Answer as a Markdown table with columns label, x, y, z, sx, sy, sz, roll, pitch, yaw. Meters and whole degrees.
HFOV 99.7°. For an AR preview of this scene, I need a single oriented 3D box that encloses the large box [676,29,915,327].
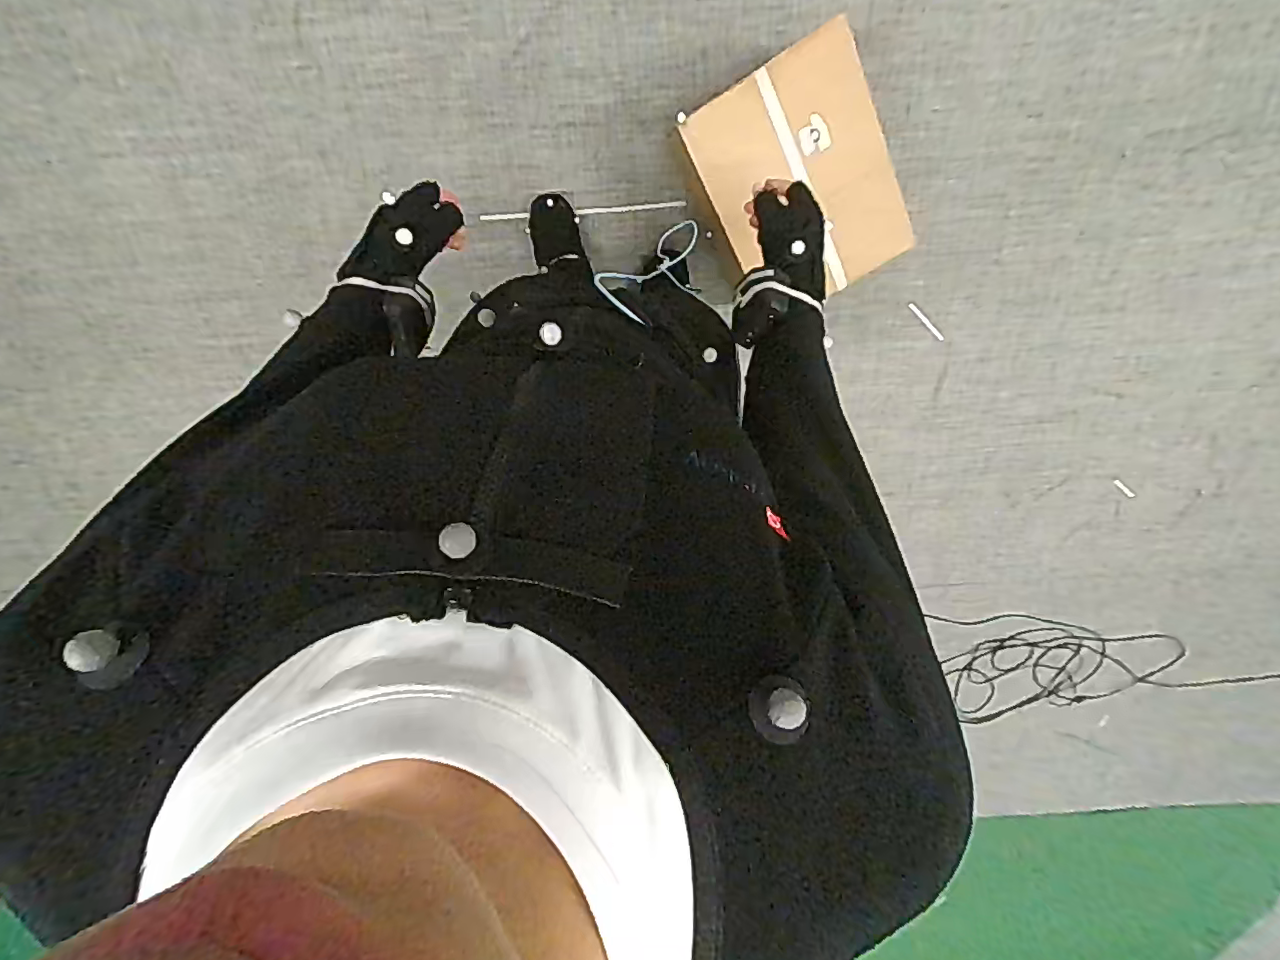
| label | x | y | z | sx | sy | sz | roll | pitch | yaw |
| --- | --- | --- | --- | --- | --- | --- | --- | --- | --- |
| large box | 0.306 | -0.597 | 1.137 | 0.320 | 0.320 | 0.408 | -27 | 114 | 12 |
